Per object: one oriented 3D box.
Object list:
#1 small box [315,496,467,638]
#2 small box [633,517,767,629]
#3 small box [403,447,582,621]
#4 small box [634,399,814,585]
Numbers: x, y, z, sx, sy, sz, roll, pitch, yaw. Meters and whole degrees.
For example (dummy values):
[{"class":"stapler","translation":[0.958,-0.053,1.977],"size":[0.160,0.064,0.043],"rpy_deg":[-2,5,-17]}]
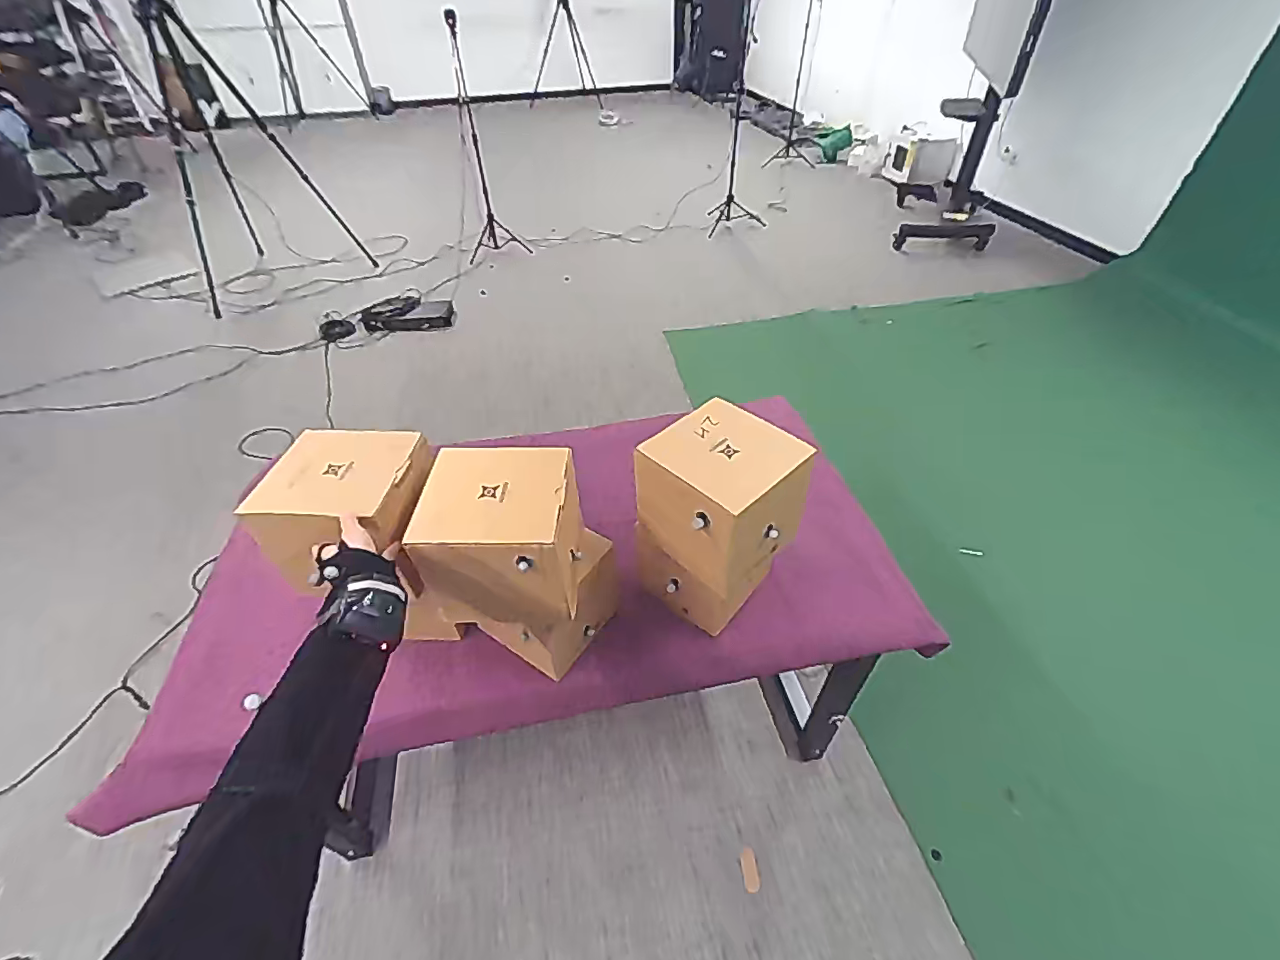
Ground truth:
[{"class":"small box","translation":[-0.375,0.143,0.879],"size":[0.179,0.176,0.168],"rpy_deg":[0,45,1]},{"class":"small box","translation":[0.109,0.113,0.900],"size":[0.168,0.176,0.179],"rpy_deg":[29,52,28]},{"class":"small box","translation":[-0.177,0.072,0.714],"size":[0.179,0.176,0.168],"rpy_deg":[0,44,1]},{"class":"small box","translation":[0.112,0.020,0.757],"size":[0.168,0.176,0.179],"rpy_deg":[-33,51,-29]}]
